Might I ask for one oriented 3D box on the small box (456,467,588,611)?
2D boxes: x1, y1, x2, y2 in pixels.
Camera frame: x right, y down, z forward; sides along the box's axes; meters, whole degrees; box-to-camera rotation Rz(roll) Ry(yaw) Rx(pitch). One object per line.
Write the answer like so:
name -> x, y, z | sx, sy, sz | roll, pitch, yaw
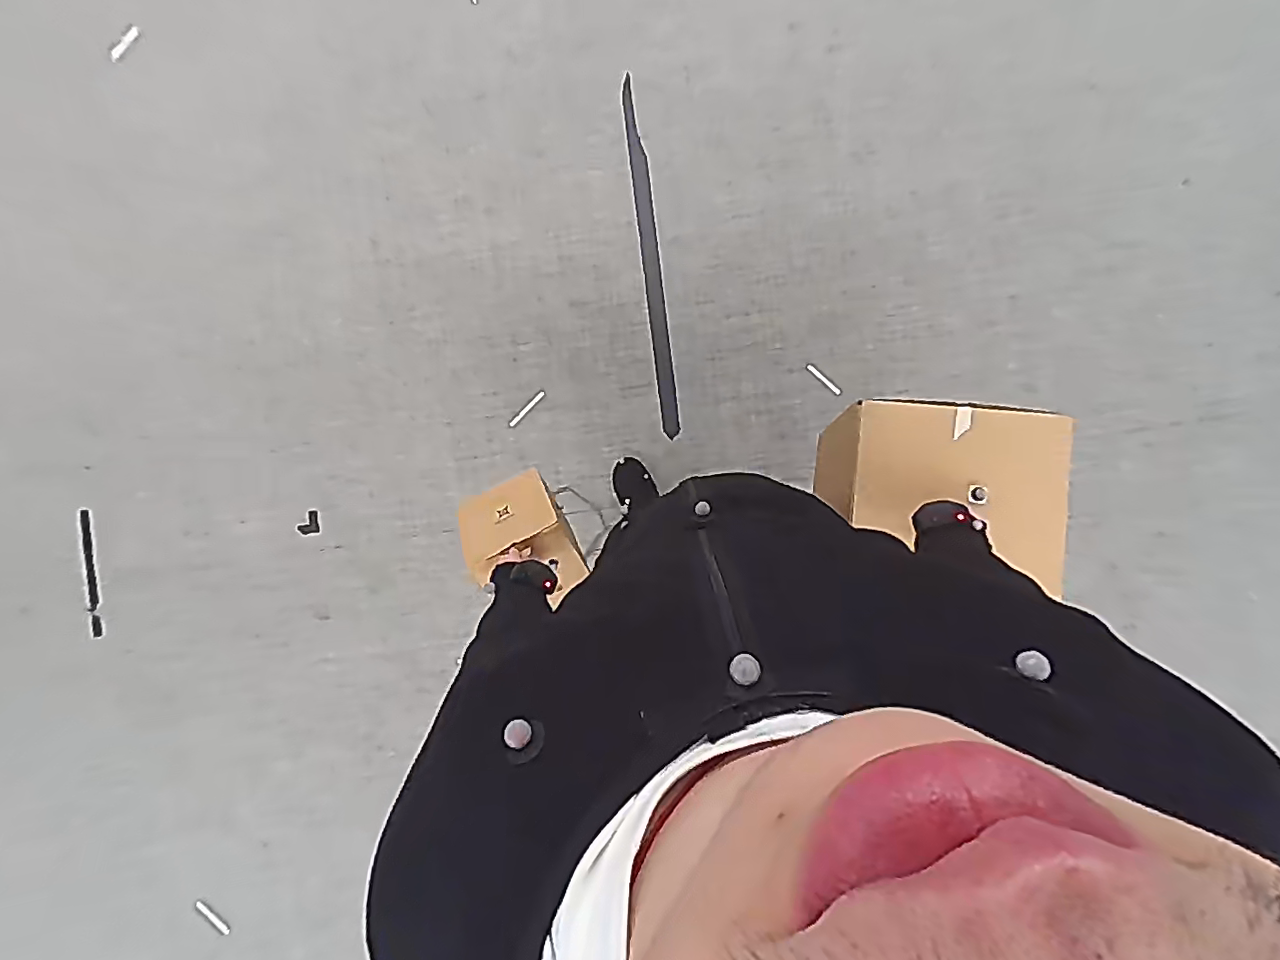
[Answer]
small box -> -0.212, 0.114, 0.990 | 0.168, 0.179, 0.176 | -27, 133, -6
